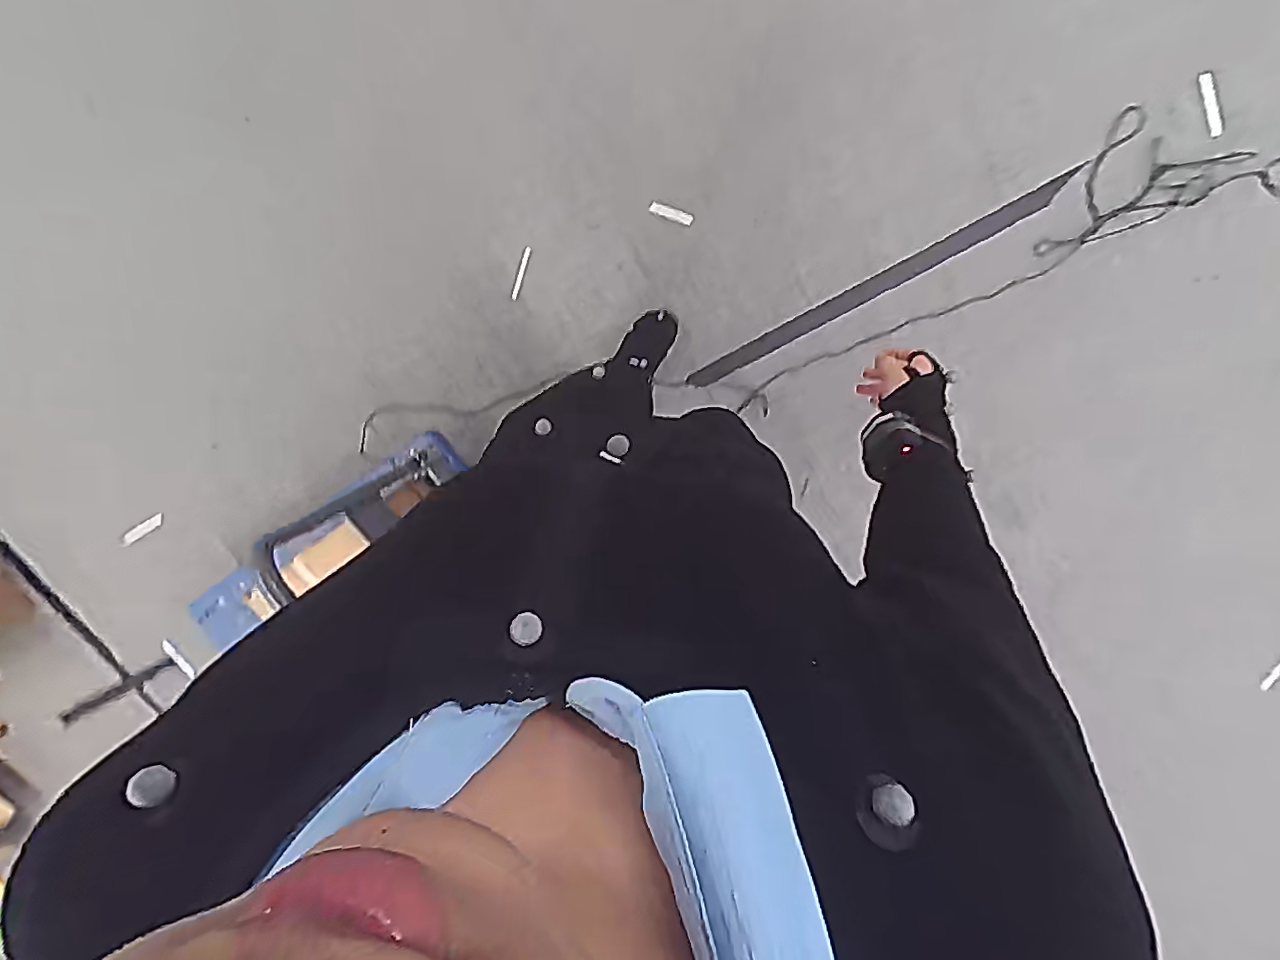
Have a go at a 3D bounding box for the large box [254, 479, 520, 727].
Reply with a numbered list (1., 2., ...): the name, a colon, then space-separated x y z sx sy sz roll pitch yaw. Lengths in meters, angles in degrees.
1. large box: -0.551 0.269 1.263 0.320 0.320 0.408 -34 102 9
